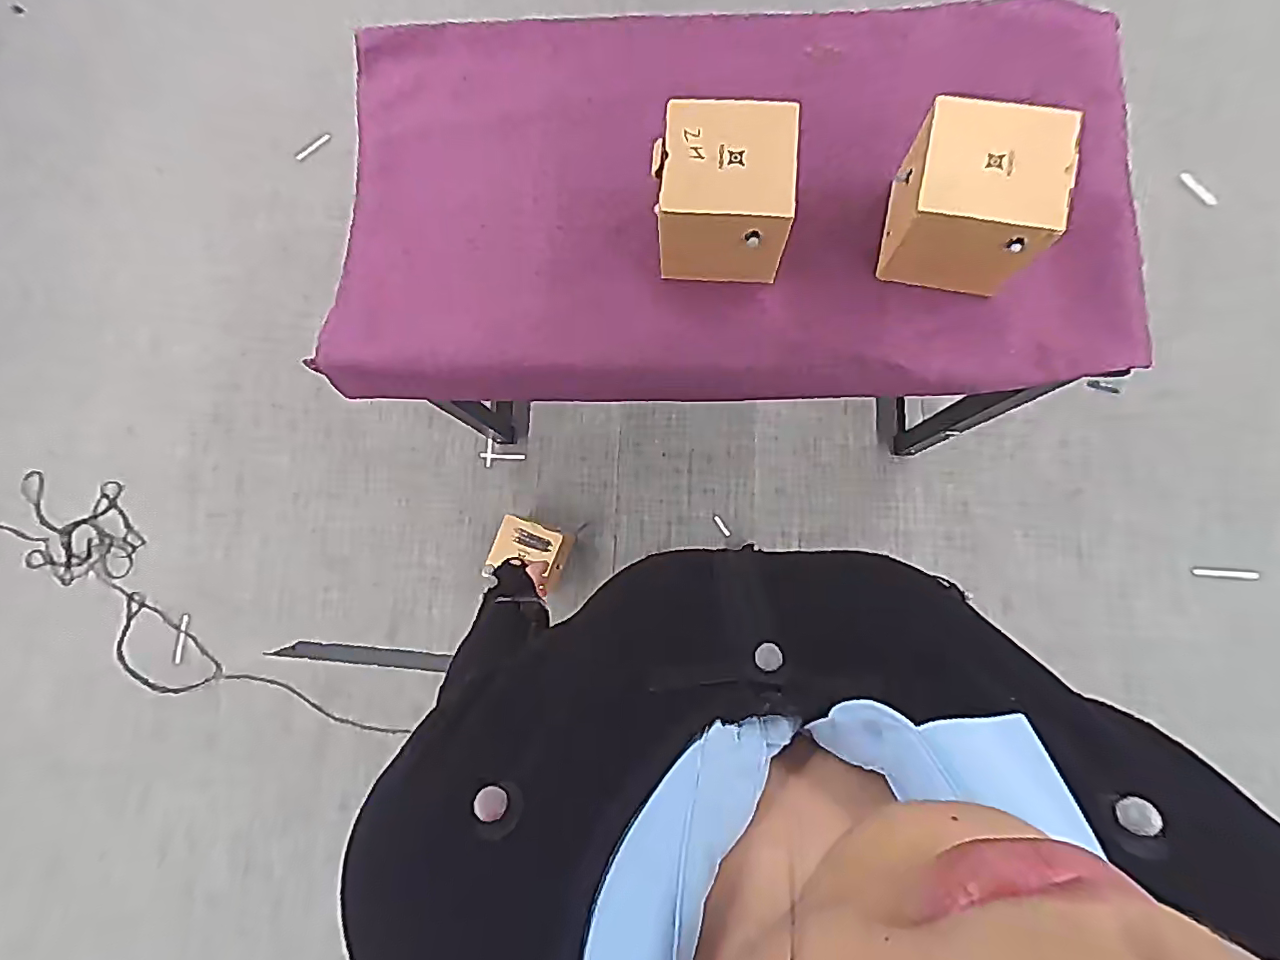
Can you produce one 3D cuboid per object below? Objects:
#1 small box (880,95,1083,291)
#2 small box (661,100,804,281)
[{"bbox_3d":[0.454,-0.383,0.747,0.179,0.176,0.168,12,83,7],"label":"small box"},{"bbox_3d":[0.126,-0.404,0.779,0.179,0.176,0.168,4,81,6],"label":"small box"}]
